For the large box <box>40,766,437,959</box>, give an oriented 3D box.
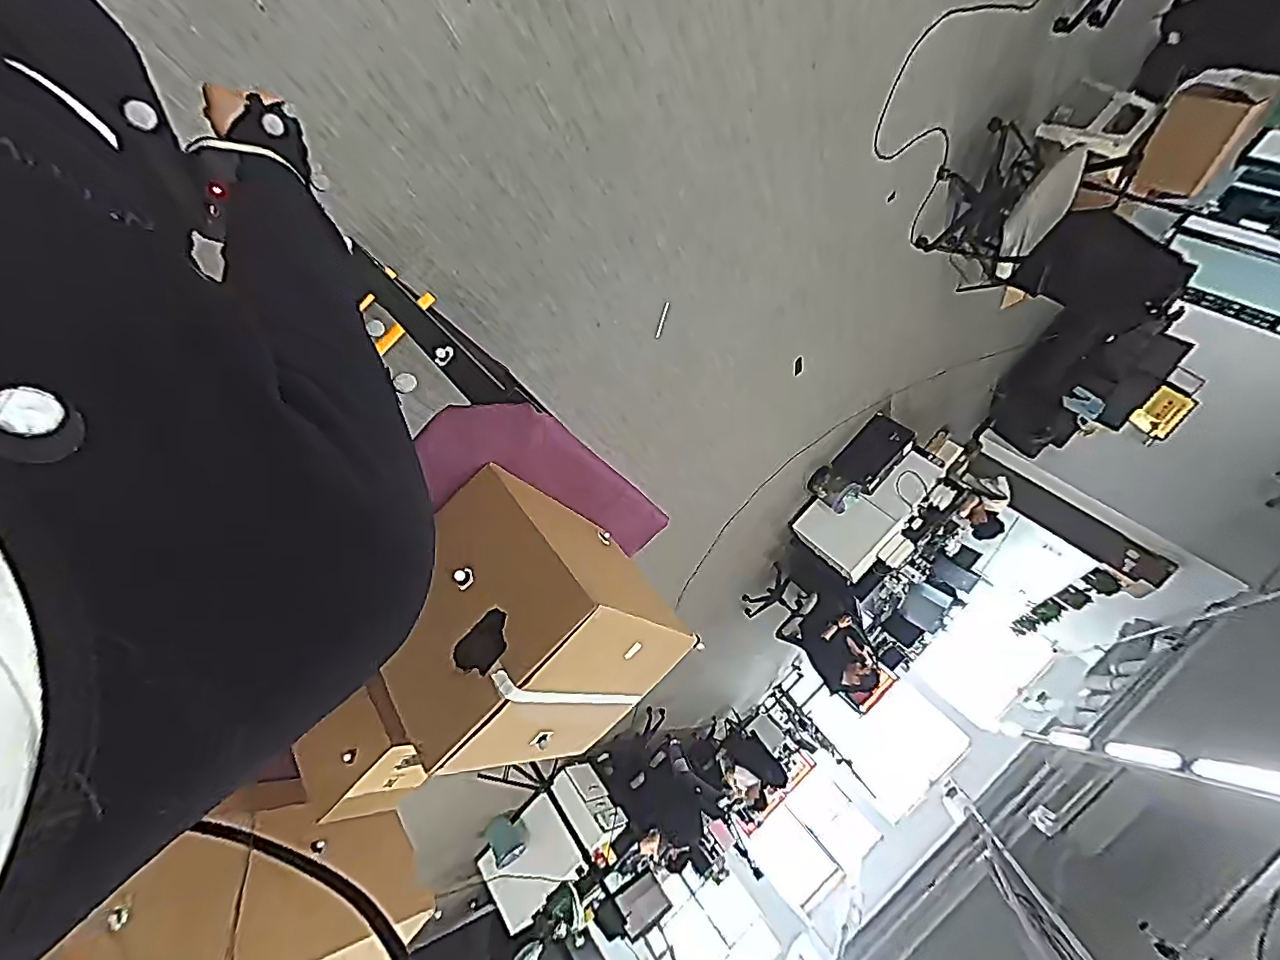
[{"bbox_3d":[-0.652,0.744,0.919,0.320,0.320,0.408,-47,150,0],"label":"large box"}]
